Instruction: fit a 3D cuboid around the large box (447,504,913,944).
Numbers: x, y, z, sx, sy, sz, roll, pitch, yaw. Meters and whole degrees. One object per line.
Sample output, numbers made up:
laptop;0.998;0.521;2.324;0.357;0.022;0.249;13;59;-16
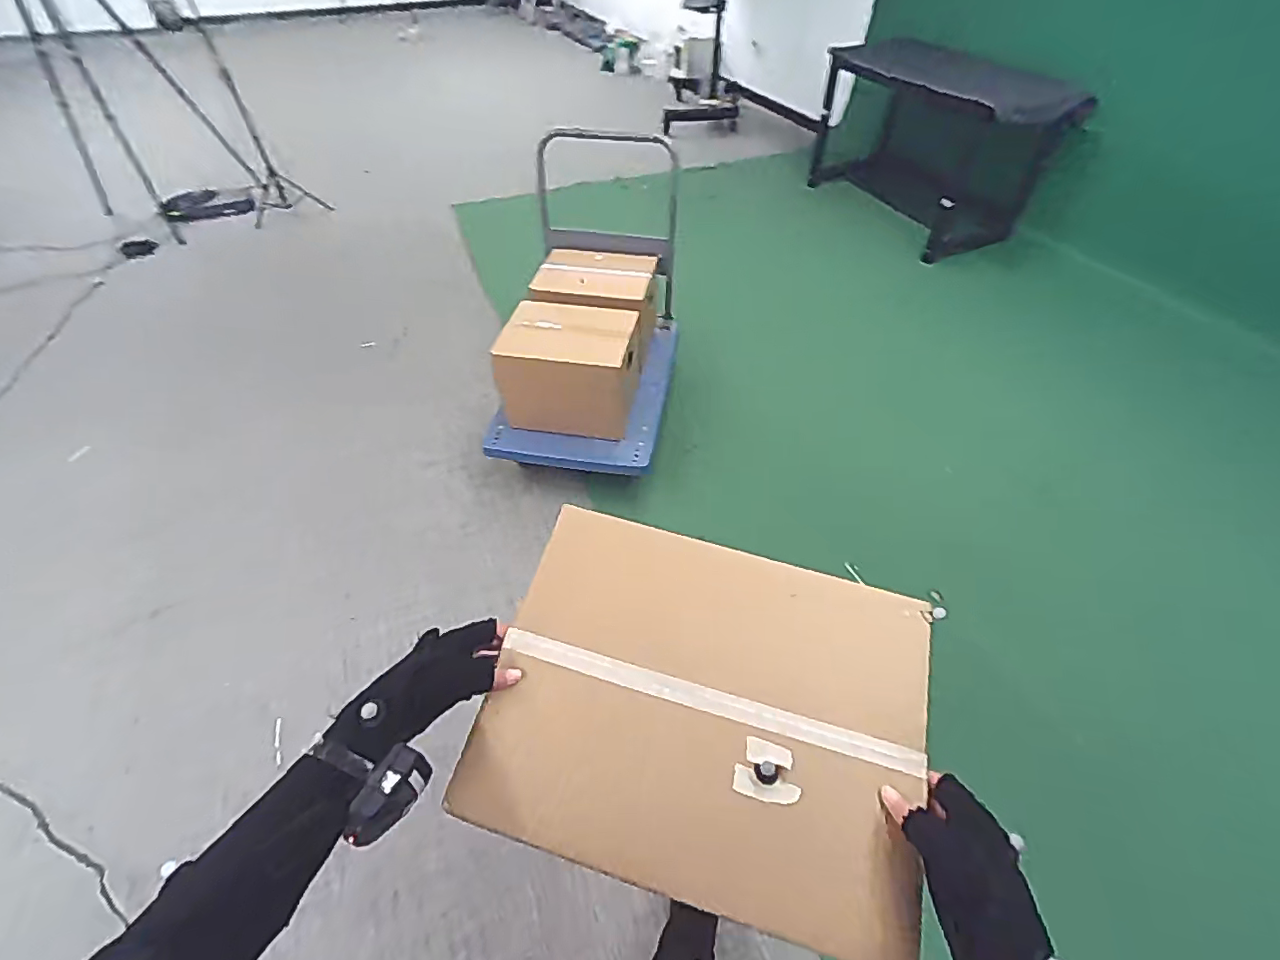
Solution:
large box;0.054;0.271;0.650;0.408;0.320;0.320;14;61;7
